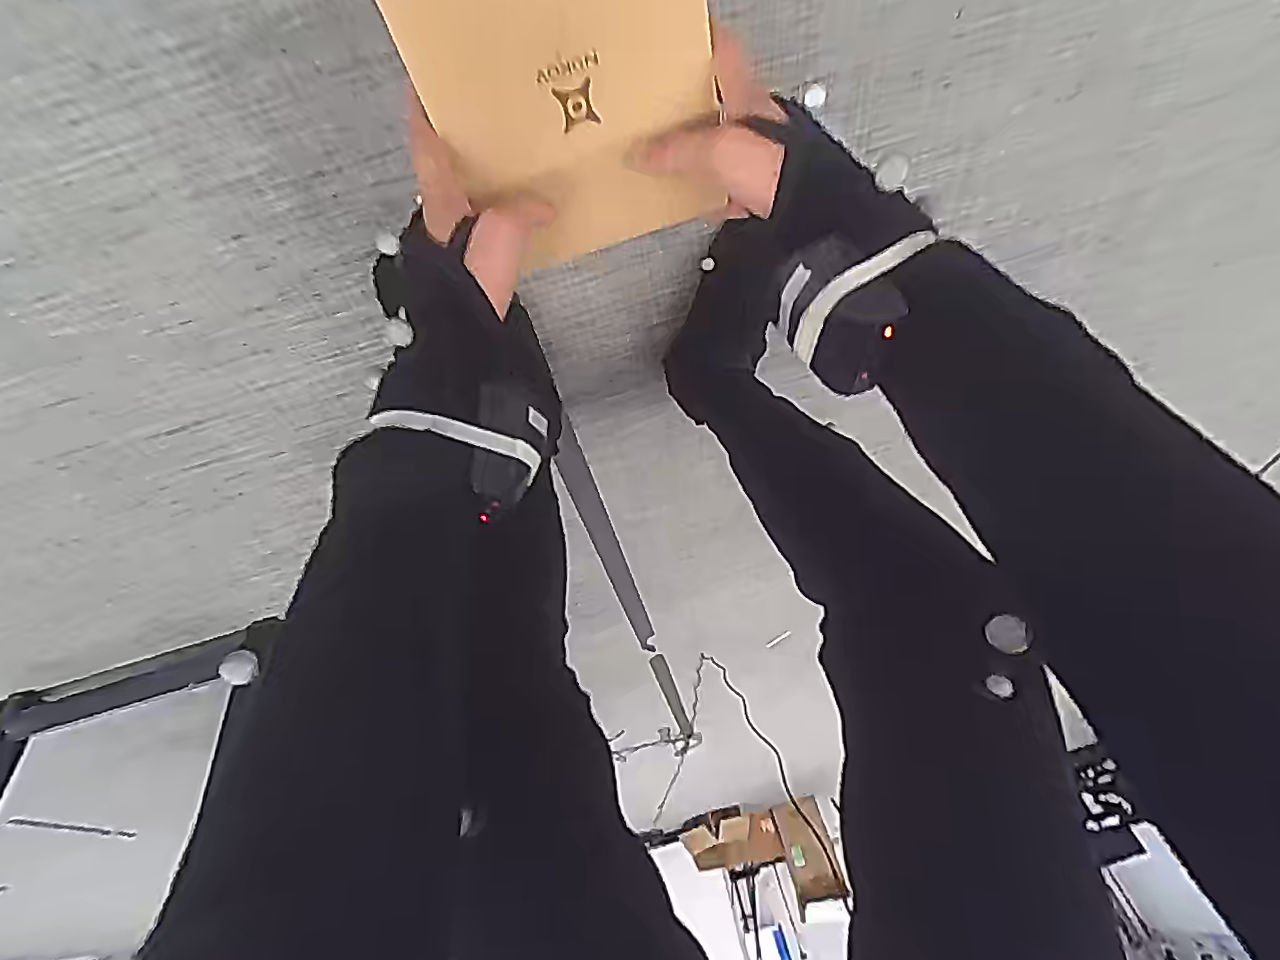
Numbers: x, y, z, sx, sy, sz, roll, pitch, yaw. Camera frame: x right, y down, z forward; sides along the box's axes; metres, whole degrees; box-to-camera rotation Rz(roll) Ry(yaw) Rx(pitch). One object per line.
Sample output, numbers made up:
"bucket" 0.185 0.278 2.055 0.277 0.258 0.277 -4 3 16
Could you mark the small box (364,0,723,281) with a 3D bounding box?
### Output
"small box" -0.056 -0.269 0.356 0.168 0.176 0.179 -18 136 2
